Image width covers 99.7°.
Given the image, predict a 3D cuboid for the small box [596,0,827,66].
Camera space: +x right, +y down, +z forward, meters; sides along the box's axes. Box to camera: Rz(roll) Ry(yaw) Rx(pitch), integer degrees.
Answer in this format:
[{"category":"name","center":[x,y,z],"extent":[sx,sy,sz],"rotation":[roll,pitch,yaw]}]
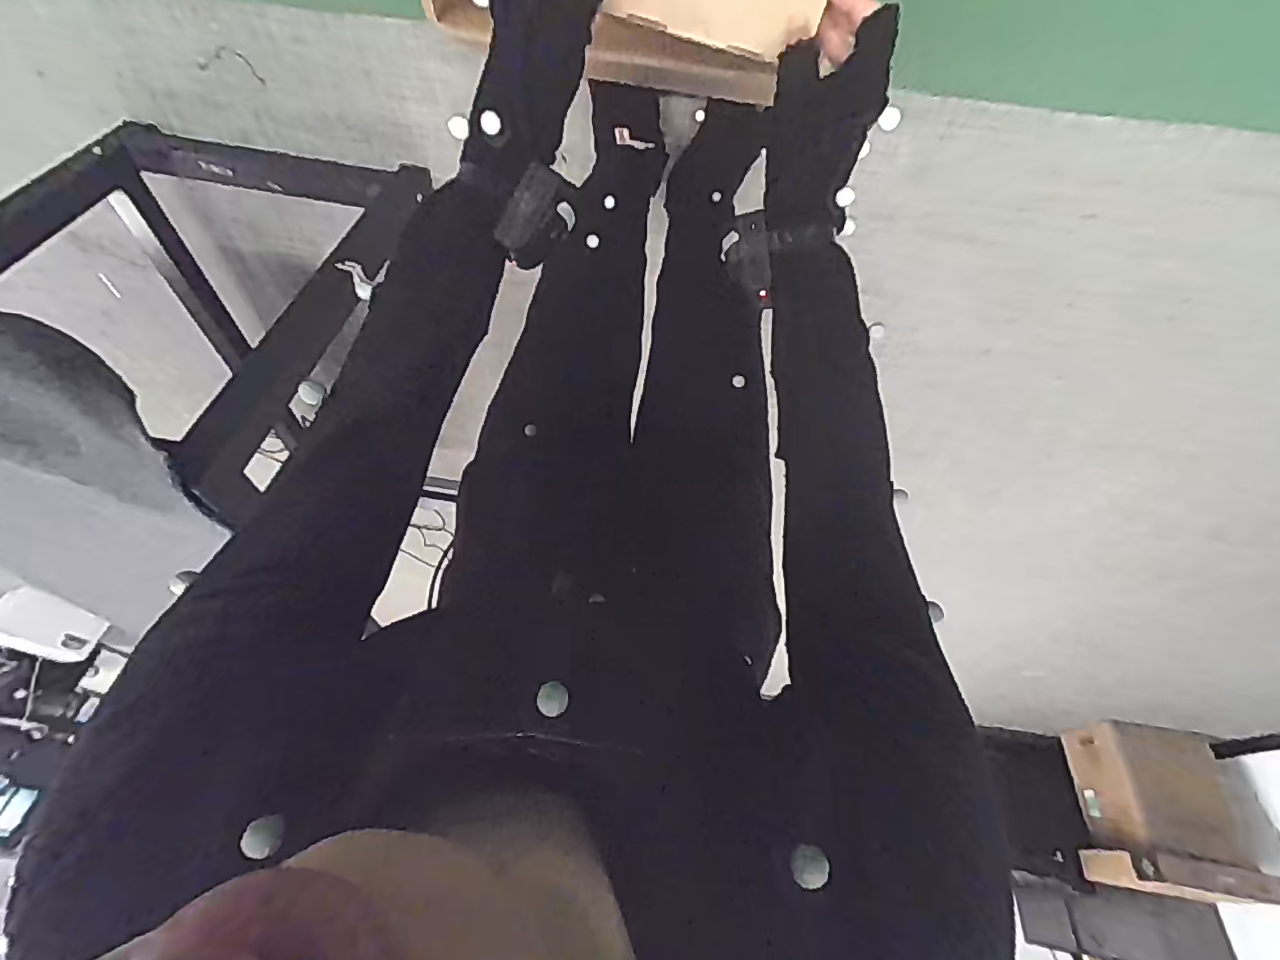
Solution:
[{"category":"small box","center":[0.070,-0.439,0.384],"extent":[0.168,0.176,0.179],"rotation":[14,138,-3]}]
